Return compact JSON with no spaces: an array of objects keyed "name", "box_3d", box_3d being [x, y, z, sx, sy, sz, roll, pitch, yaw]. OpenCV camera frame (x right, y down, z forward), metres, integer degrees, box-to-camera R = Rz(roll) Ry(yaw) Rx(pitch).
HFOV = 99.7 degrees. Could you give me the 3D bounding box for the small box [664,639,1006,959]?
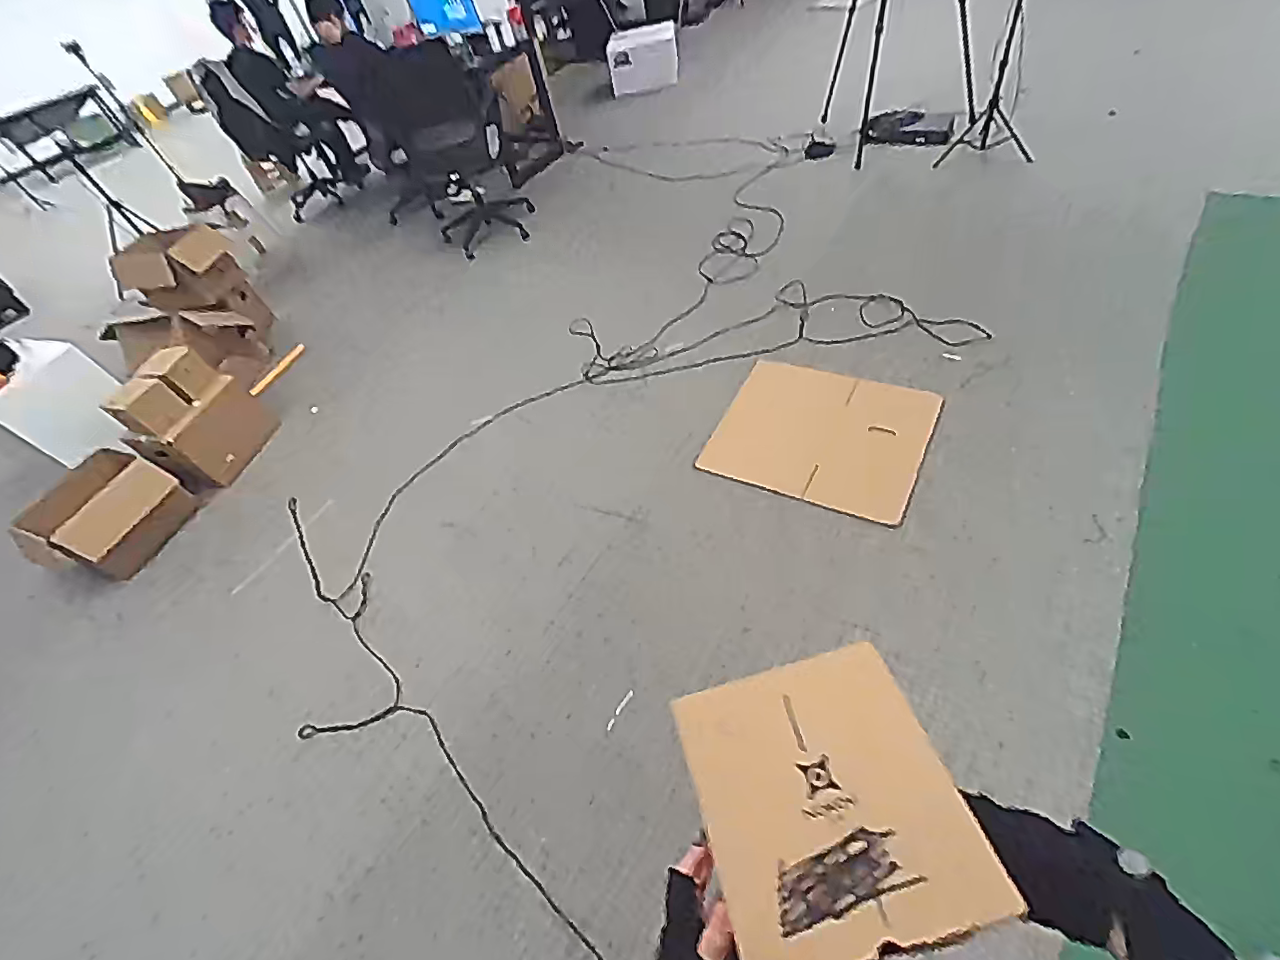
[{"name":"small box","box_3d":[0.129,0.259,0.423,0.168,0.176,0.179,-17,48,-3]}]
